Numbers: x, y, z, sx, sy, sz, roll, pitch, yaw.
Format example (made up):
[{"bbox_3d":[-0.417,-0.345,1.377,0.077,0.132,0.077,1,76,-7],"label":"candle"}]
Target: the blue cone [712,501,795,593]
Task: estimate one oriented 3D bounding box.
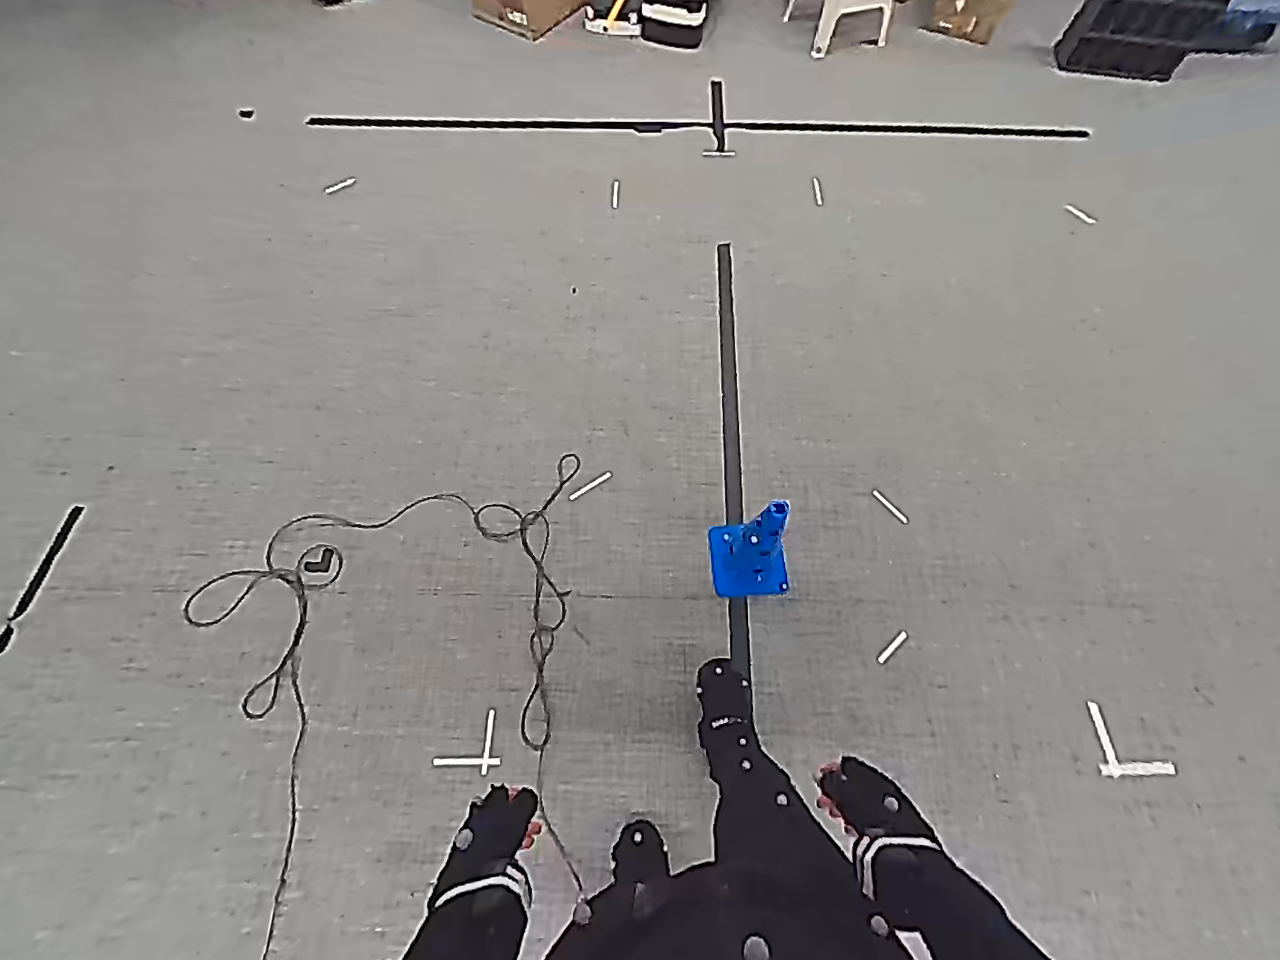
[{"bbox_3d":[0.299,0.141,1.323,0.192,0.380,0.193,-1,64,-2],"label":"blue cone"}]
